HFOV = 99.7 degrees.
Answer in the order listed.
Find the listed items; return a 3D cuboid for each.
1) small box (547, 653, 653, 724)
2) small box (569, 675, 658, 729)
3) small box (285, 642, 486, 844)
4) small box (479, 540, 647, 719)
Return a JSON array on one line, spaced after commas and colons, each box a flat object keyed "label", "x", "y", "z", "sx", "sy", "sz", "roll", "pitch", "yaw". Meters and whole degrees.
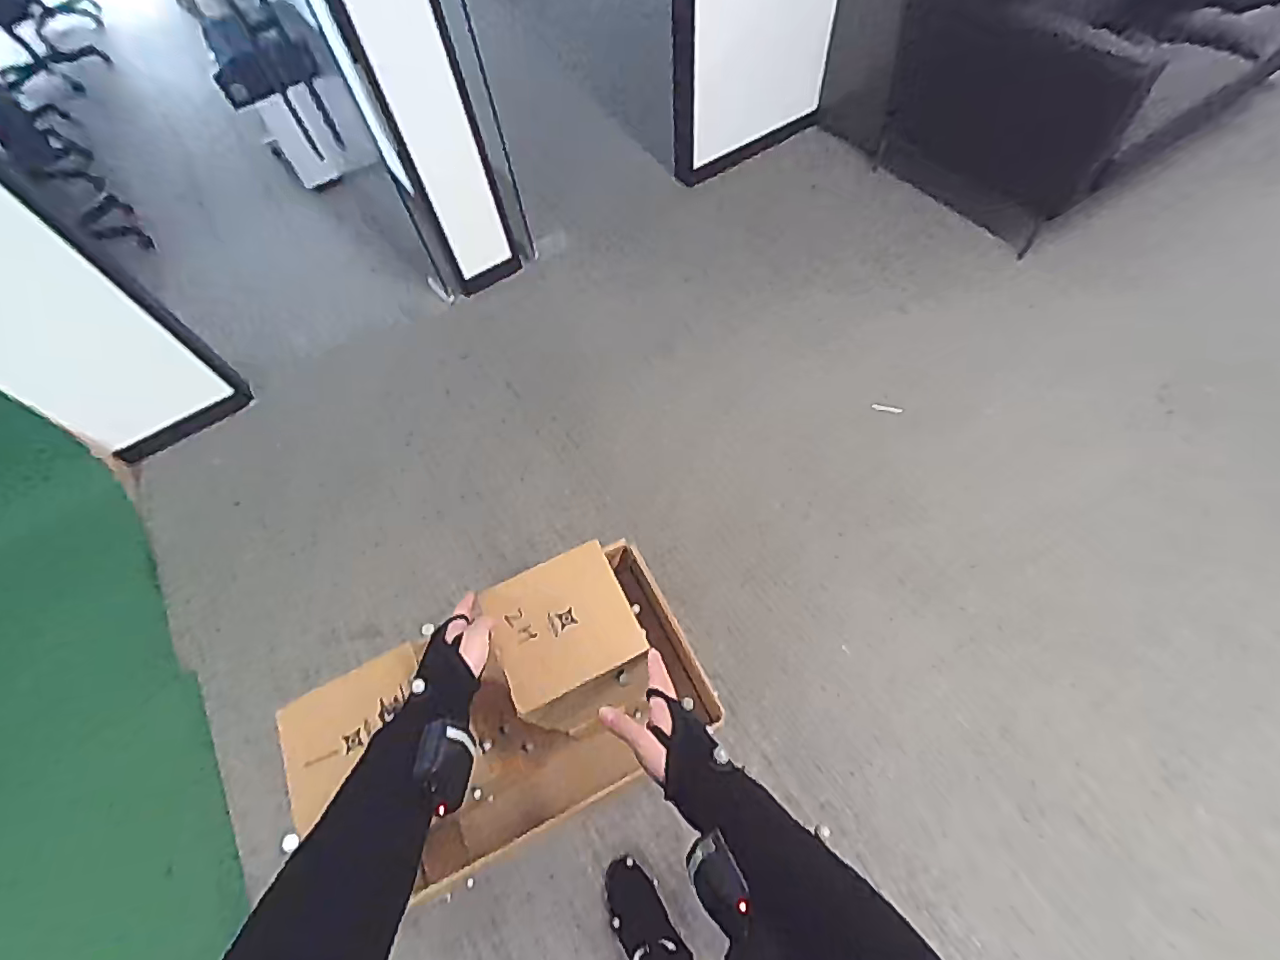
[{"label": "small box", "x": -0.086, "y": 0.292, "z": 0.910, "sx": 0.179, "sy": 0.176, "sz": 0.168, "roll": -23, "pitch": 62, "yaw": -7}, {"label": "small box", "x": -0.071, "y": 0.367, "z": 1.052, "sx": 0.168, "sy": 0.176, "sz": 0.179, "roll": -22, "pitch": 62, "yaw": -7}, {"label": "small box", "x": -0.322, "y": 0.343, "z": 0.718, "sx": 0.179, "sy": 0.176, "sz": 0.168, "roll": -27, "pitch": 62, "yaw": -9}, {"label": "small box", "x": -0.098, "y": 0.215, "z": 0.761, "sx": 0.179, "sy": 0.176, "sz": 0.168, "roll": -25, "pitch": 62, "yaw": -8}]
